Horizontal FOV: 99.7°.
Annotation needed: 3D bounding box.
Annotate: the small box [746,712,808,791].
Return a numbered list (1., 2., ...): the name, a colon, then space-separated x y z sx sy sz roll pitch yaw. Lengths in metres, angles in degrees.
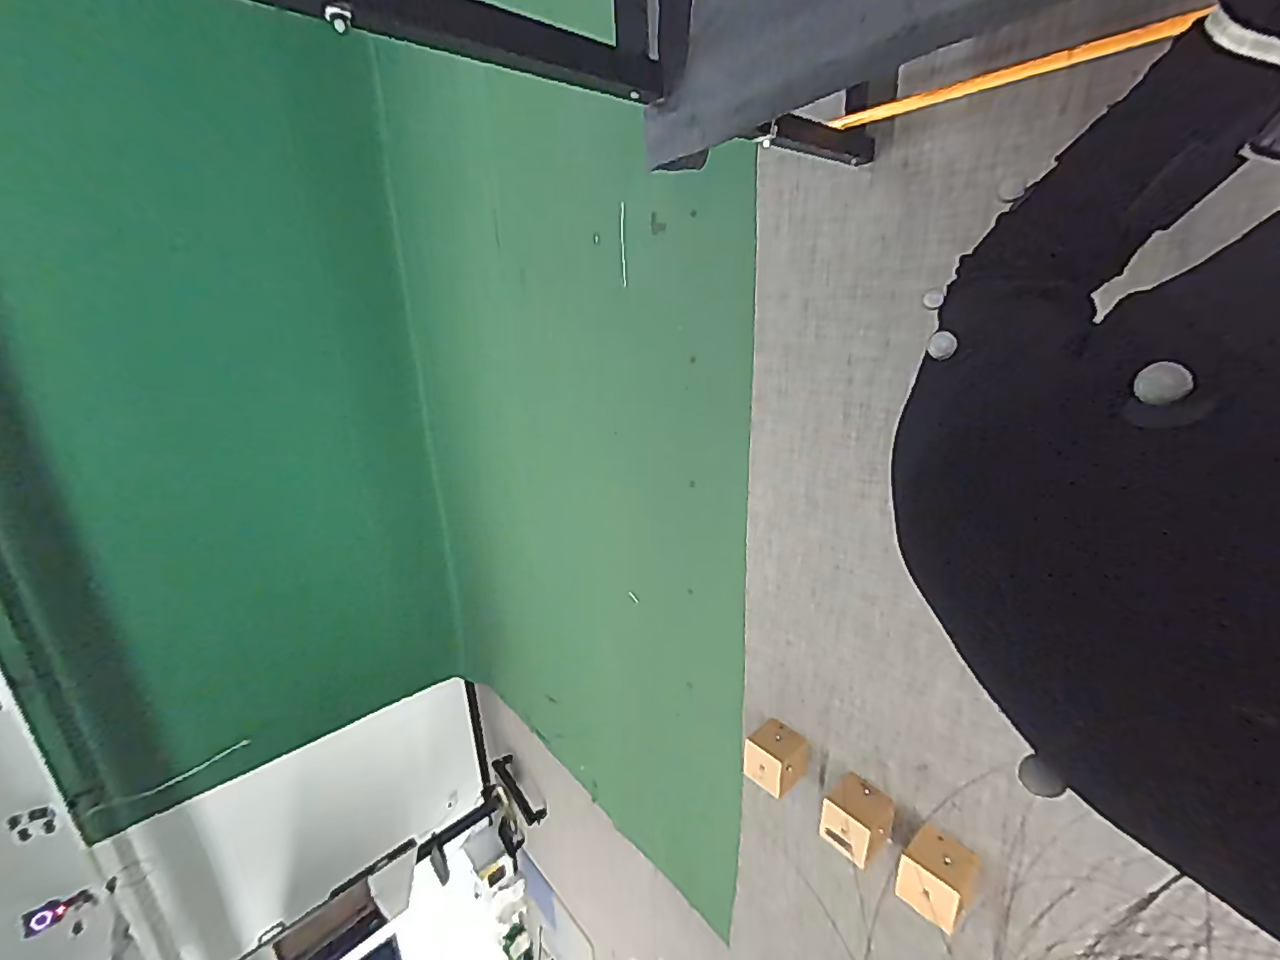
1. small box: 0.528 1.033 2.074 0.168 0.176 0.179 19 118 47

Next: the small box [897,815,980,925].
1. small box: 0.916 1.182 1.655 0.168 0.176 0.179 18 117 46
